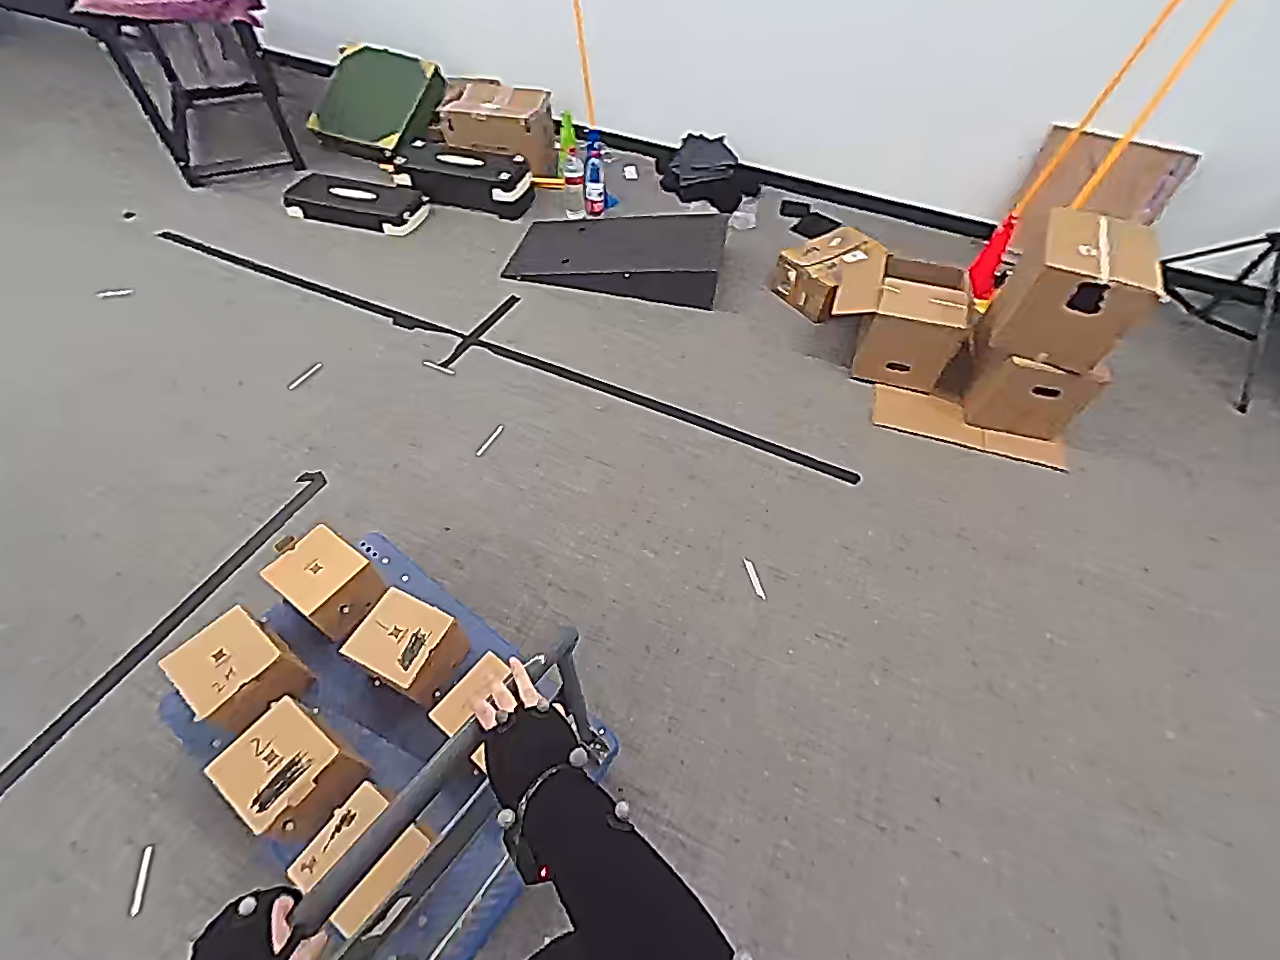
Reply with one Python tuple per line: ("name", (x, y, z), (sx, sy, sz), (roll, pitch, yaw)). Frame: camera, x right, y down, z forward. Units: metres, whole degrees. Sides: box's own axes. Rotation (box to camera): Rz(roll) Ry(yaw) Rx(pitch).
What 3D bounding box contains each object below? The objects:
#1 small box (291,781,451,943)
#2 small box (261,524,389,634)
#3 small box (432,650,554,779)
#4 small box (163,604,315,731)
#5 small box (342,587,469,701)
("small box", (-0.473, 0.684, 0.981), (0.179, 0.176, 0.168), (30, 56, 17))
("small box", (-0.736, 0.243, 1.287), (0.179, 0.176, 0.168), (30, 58, 17))
("small box", (-0.297, 0.497, 1.133), (0.179, 0.176, 0.168), (33, 58, 20))
("small box", (-0.847, 0.406, 1.158), (0.179, 0.176, 0.168), (35, 59, 19))
("small box", (-0.509, 0.372, 1.207), (0.179, 0.176, 0.168), (22, 56, 13))
